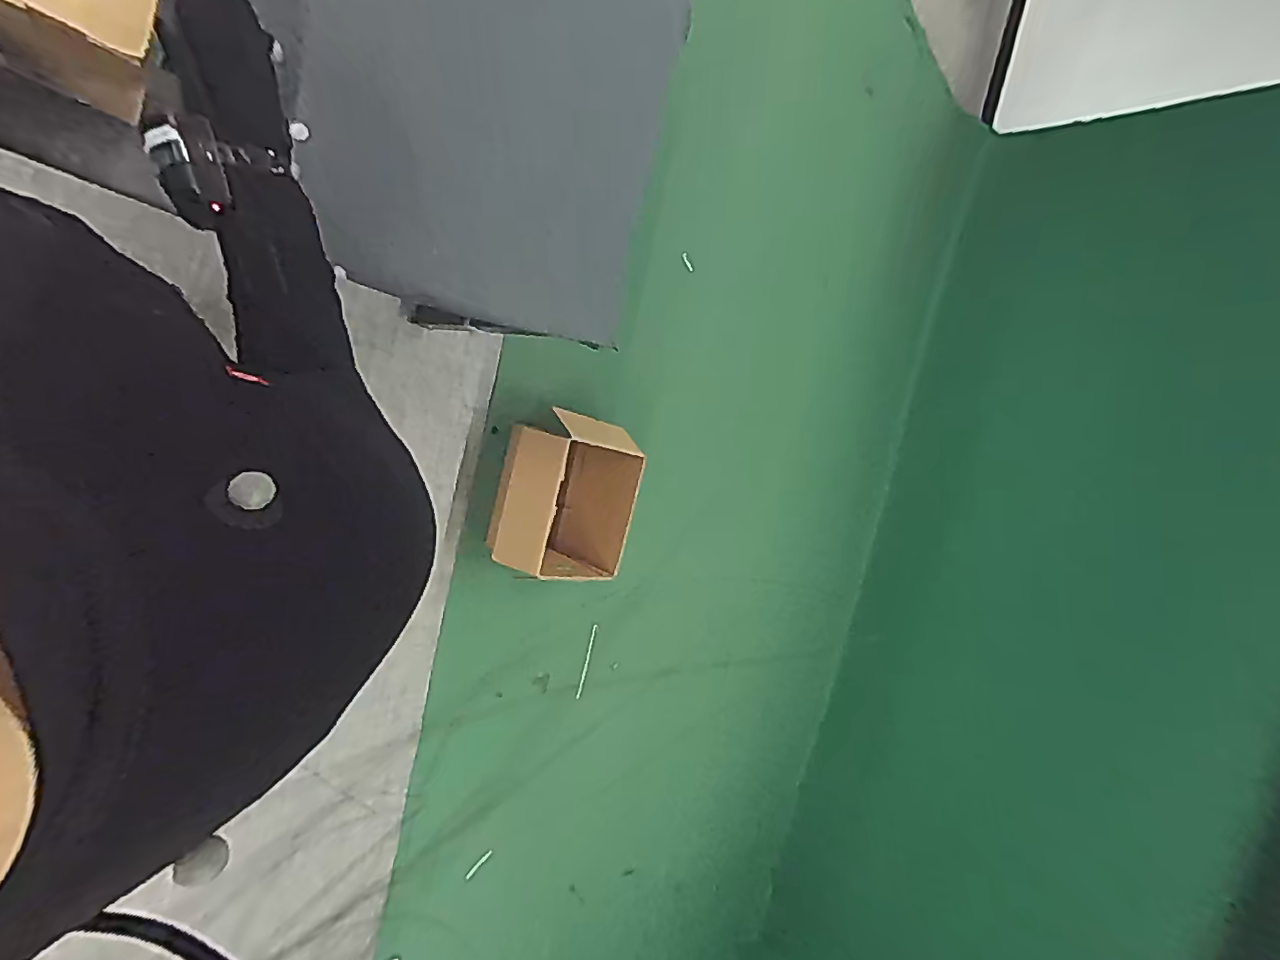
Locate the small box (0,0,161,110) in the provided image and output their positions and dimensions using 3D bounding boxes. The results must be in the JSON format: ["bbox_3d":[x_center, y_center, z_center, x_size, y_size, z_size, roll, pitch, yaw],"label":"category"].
[{"bbox_3d":[-0.462,-0.423,0.396,0.168,0.176,0.179,11,94,-46],"label":"small box"}]
